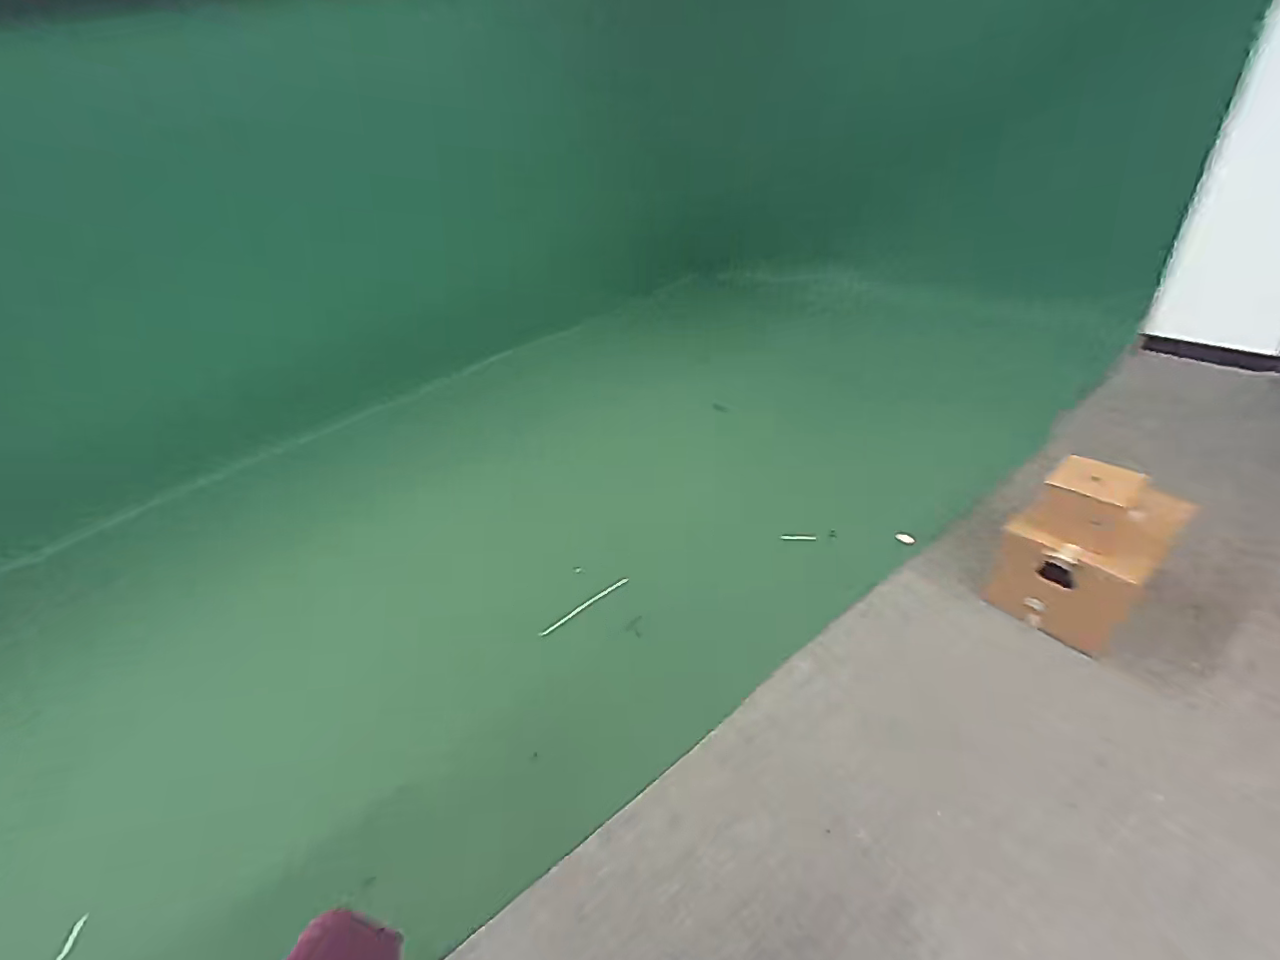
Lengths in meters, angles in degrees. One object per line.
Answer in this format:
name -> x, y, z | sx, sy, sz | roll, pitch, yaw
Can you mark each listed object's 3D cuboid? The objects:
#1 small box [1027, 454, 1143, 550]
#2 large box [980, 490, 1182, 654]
small box -> 1.187, 0.063, 1.453 | 0.168, 0.176, 0.179 | -32, 39, -25
large box -> 1.295, 0.228, 1.615 | 0.408, 0.320, 0.320 | -31, 40, -24
